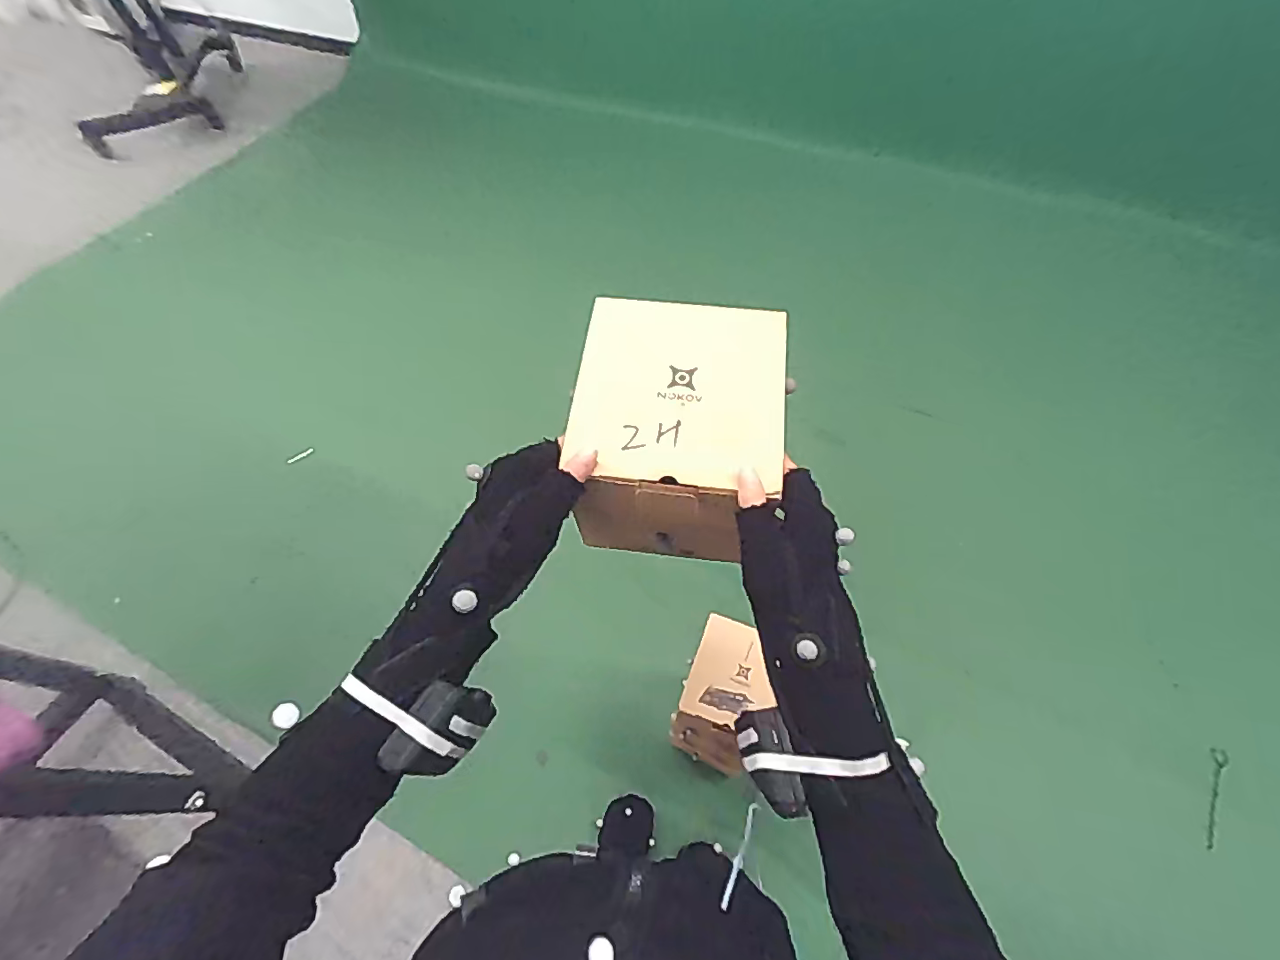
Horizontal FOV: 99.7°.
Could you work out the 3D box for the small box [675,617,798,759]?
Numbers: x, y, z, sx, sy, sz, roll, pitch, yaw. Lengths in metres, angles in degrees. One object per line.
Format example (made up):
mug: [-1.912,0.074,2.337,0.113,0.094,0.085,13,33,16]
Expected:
small box: [0.168,0.380,0.972,0.168,0.176,0.179,18,59,13]

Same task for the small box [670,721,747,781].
small box: [0.175,0.565,1.245,0.168,0.176,0.179,23,62,16]
